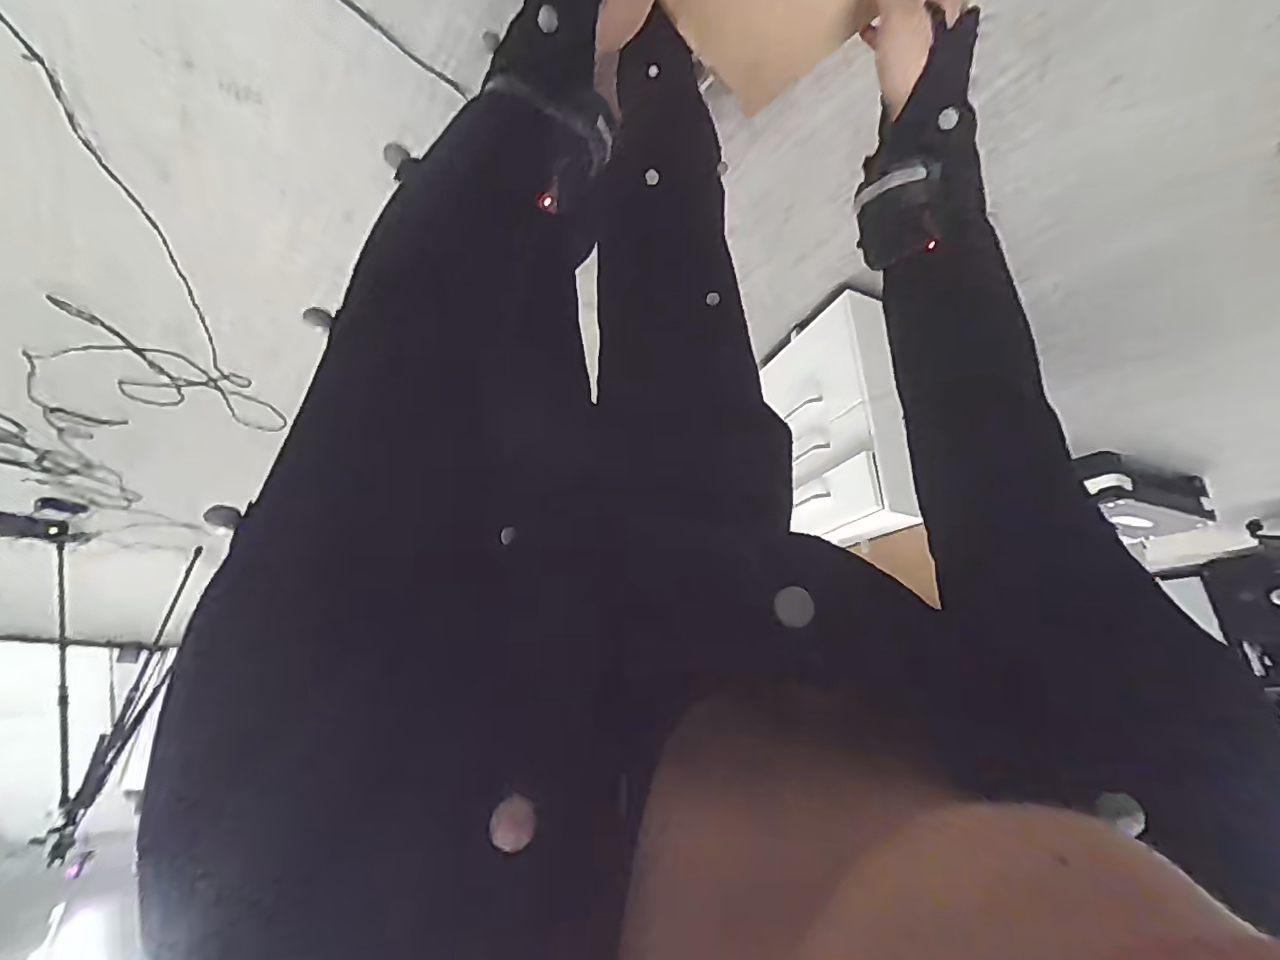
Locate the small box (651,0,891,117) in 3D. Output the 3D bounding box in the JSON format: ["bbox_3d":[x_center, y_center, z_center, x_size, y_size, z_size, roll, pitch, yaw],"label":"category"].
[{"bbox_3d":[0.108,-0.464,0.441,0.179,0.176,0.168,-20,145,41],"label":"small box"}]
